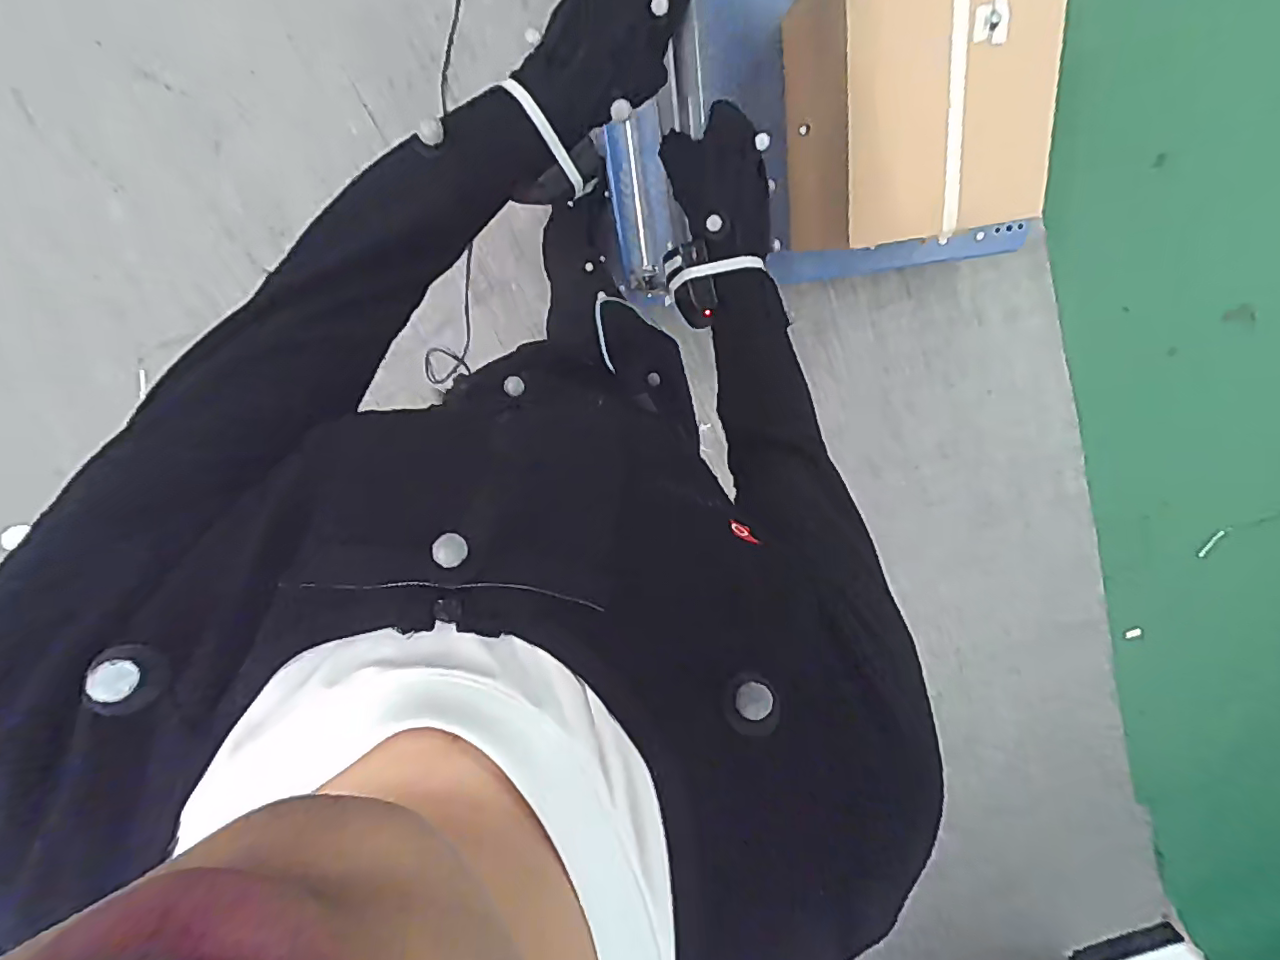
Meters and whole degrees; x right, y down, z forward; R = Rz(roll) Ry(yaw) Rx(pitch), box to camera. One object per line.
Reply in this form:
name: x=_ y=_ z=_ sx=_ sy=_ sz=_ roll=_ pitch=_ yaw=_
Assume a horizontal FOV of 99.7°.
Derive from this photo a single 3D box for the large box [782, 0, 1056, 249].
large box: x=0.448 y=-0.642 z=0.937 sx=0.320 sy=0.320 sz=0.408 roll=-9 pitch=112 yaw=0
